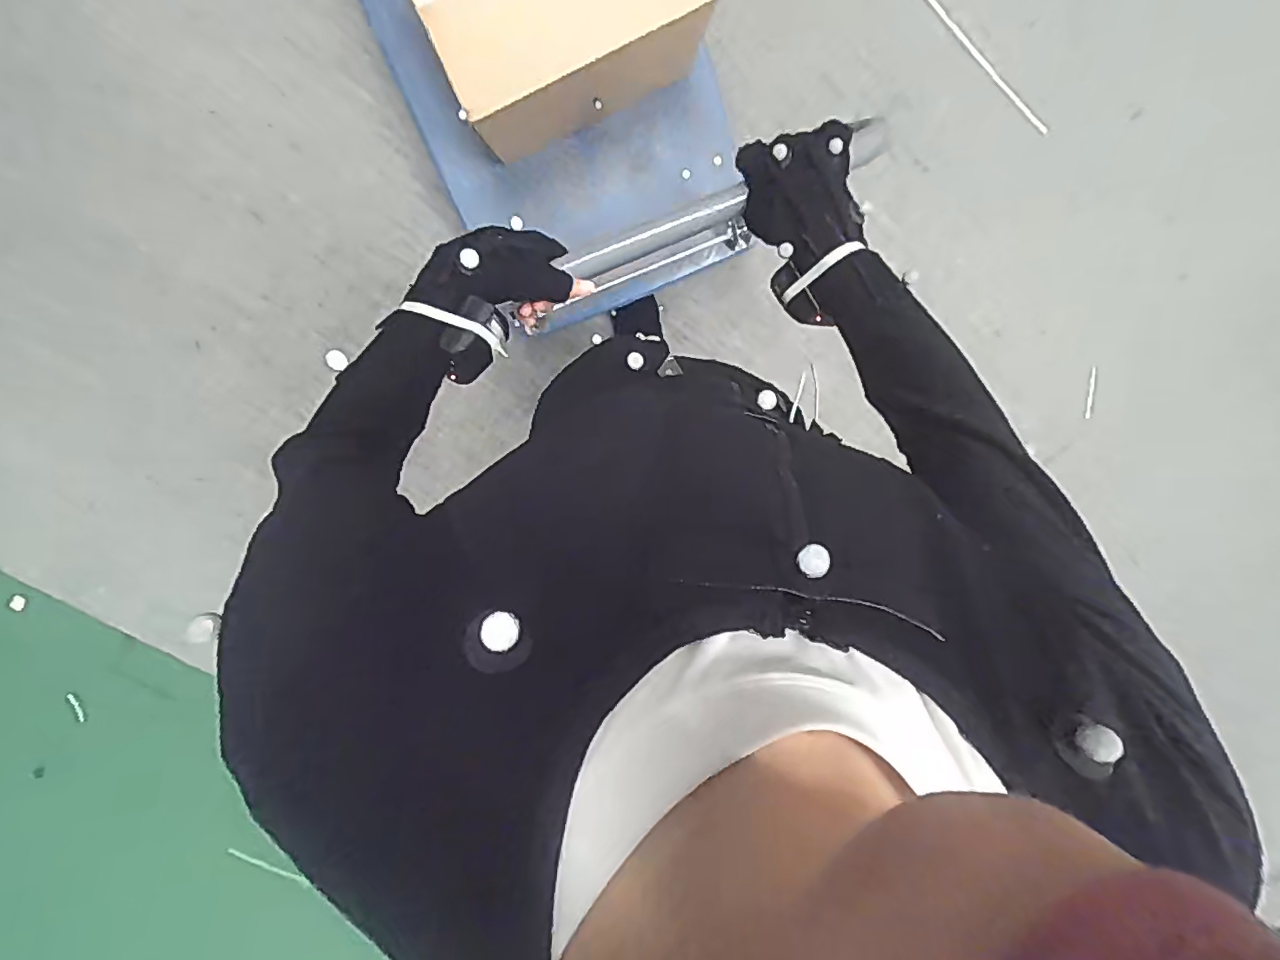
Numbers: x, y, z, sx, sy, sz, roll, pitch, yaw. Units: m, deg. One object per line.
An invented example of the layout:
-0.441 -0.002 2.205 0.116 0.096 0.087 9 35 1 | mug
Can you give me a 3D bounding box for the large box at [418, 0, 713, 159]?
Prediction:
-0.135 -0.801 0.884 0.408 0.320 0.320 -24 109 5 | large box
